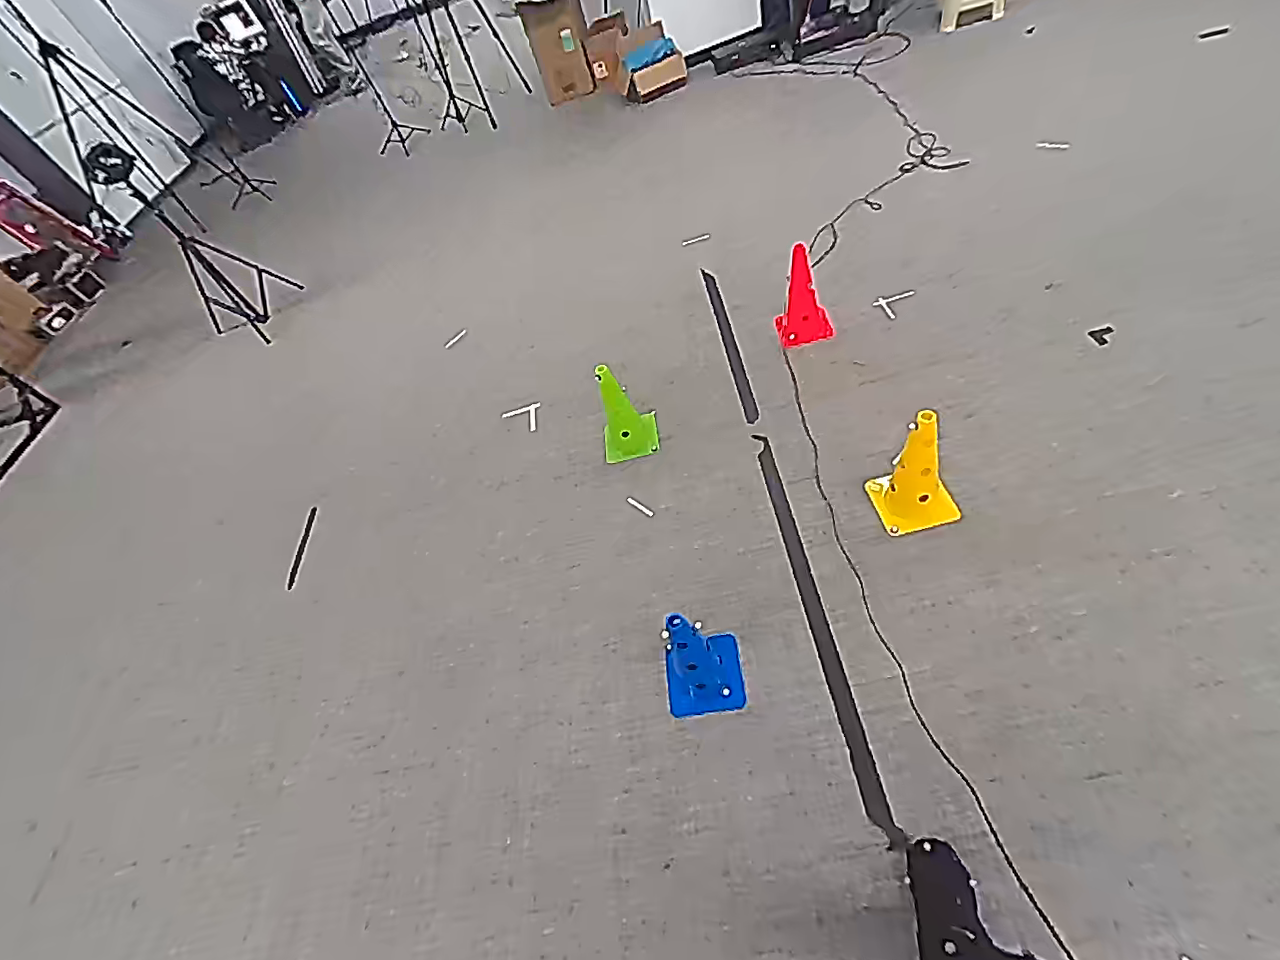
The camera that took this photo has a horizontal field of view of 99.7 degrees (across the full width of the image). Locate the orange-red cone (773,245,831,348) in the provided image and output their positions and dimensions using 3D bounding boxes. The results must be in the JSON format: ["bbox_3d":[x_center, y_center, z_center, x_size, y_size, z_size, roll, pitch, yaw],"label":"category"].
[{"bbox_3d":[0.590,-0.698,1.995,0.199,0.360,0.198,-10,52,11],"label":"orange-red cone"}]

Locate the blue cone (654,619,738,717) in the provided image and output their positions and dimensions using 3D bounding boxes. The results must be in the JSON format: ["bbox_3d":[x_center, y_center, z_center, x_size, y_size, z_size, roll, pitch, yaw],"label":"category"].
[{"bbox_3d":[0.111,0.423,1.307,0.192,0.380,0.193,-12,50,12],"label":"blue cone"}]

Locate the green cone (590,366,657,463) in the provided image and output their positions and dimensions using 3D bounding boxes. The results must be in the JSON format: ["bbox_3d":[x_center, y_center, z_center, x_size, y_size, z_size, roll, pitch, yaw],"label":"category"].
[{"bbox_3d":[-0.088,-0.259,1.891,0.202,0.368,0.200,-15,50,10],"label":"green cone"}]
